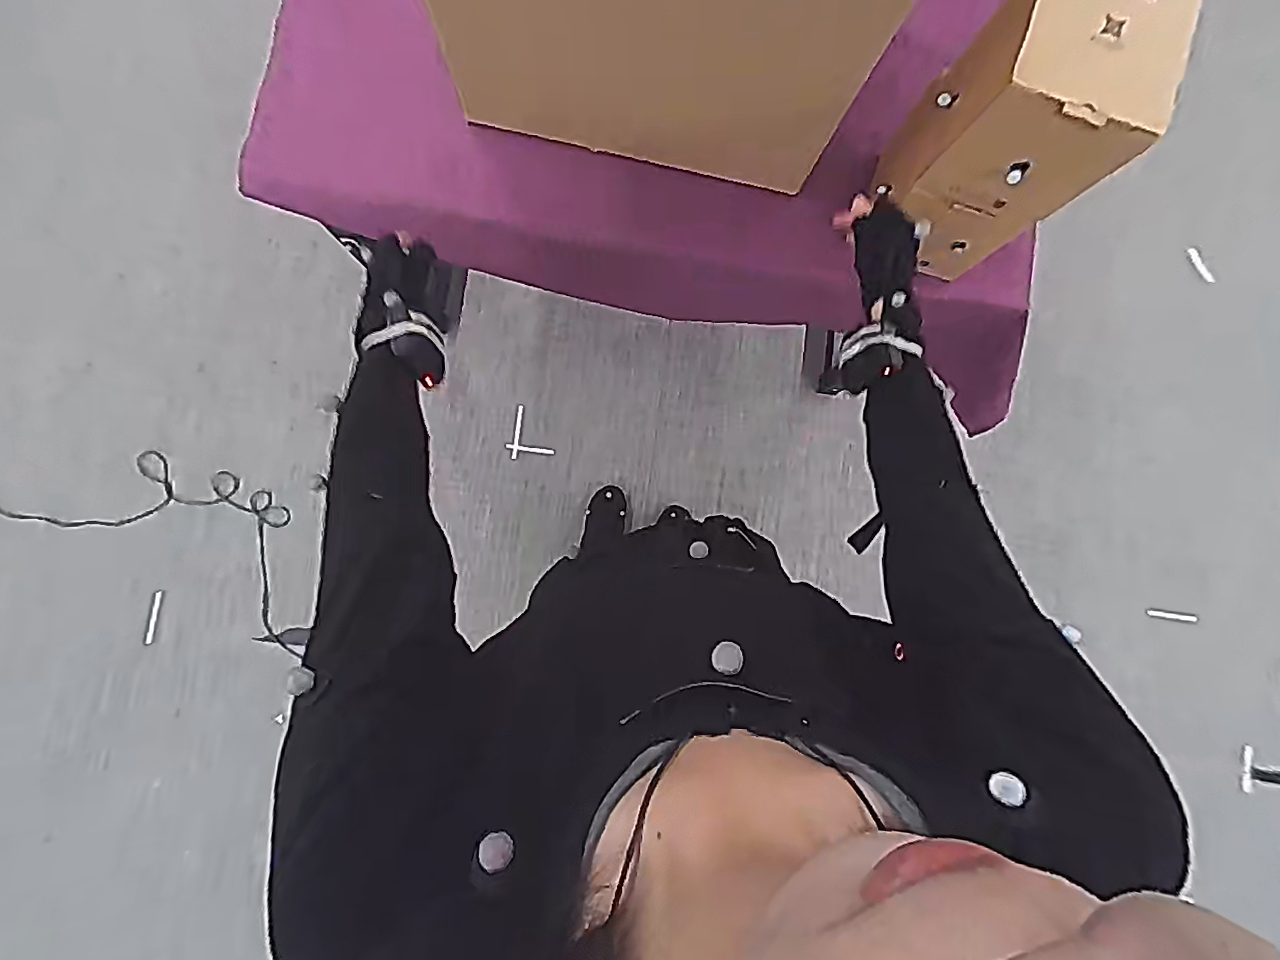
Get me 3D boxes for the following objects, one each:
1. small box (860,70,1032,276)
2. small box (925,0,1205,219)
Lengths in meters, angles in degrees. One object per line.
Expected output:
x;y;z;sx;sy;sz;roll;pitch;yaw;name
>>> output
0.442;-0.425;0.779;0.168;0.176;0.179;16;84;-3;small box
0.461;-0.438;0.616;0.168;0.176;0.179;20;85;-3;small box
